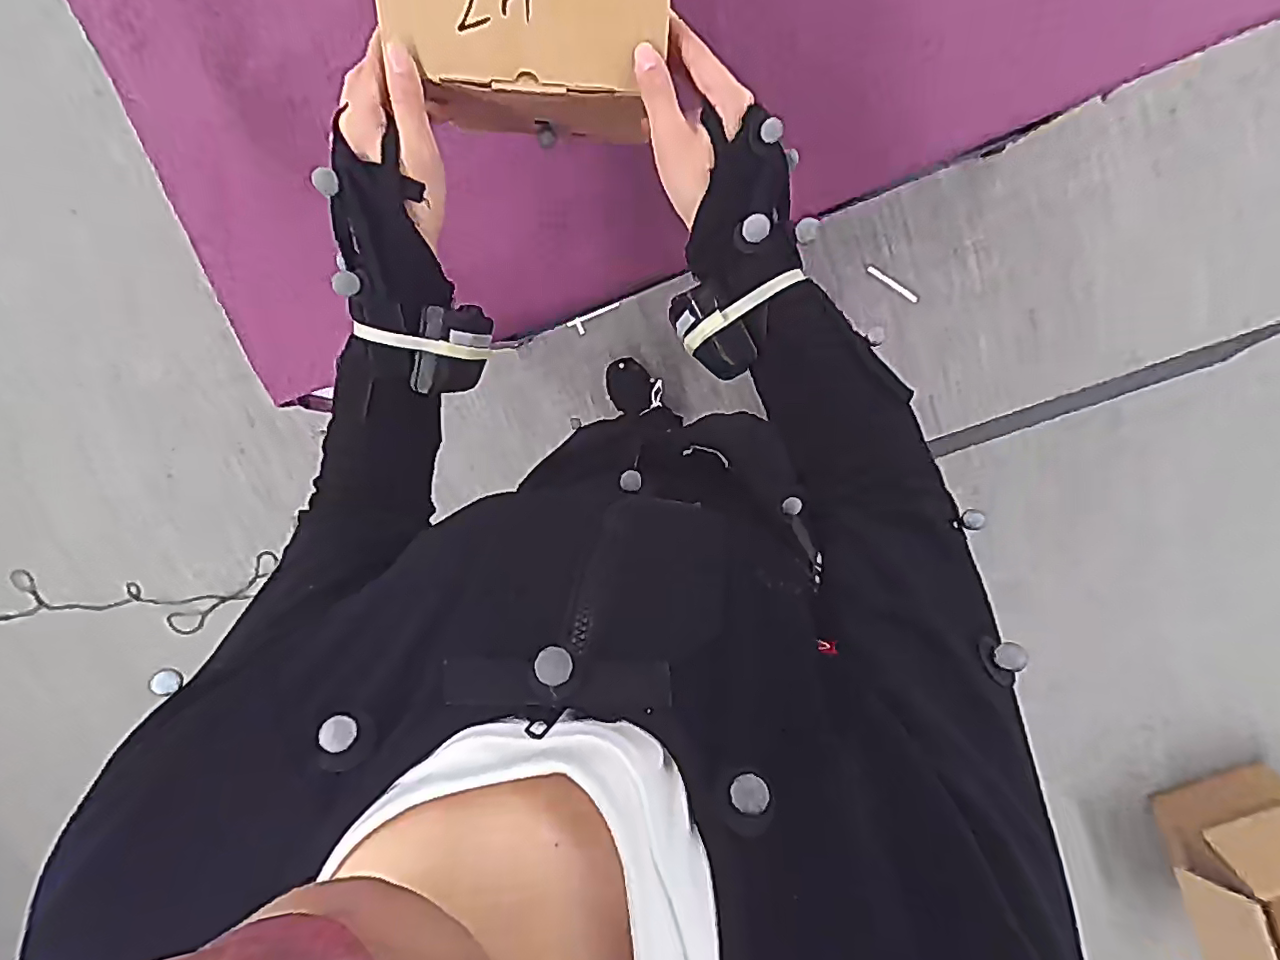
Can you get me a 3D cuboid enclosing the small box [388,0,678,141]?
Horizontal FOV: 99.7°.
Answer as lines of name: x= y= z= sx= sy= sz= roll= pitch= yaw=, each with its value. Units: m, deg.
small box: x=-0.062 y=-0.347 z=0.362 sx=0.168 sy=0.176 sz=0.179 roll=1 pitch=114 yaw=-3
